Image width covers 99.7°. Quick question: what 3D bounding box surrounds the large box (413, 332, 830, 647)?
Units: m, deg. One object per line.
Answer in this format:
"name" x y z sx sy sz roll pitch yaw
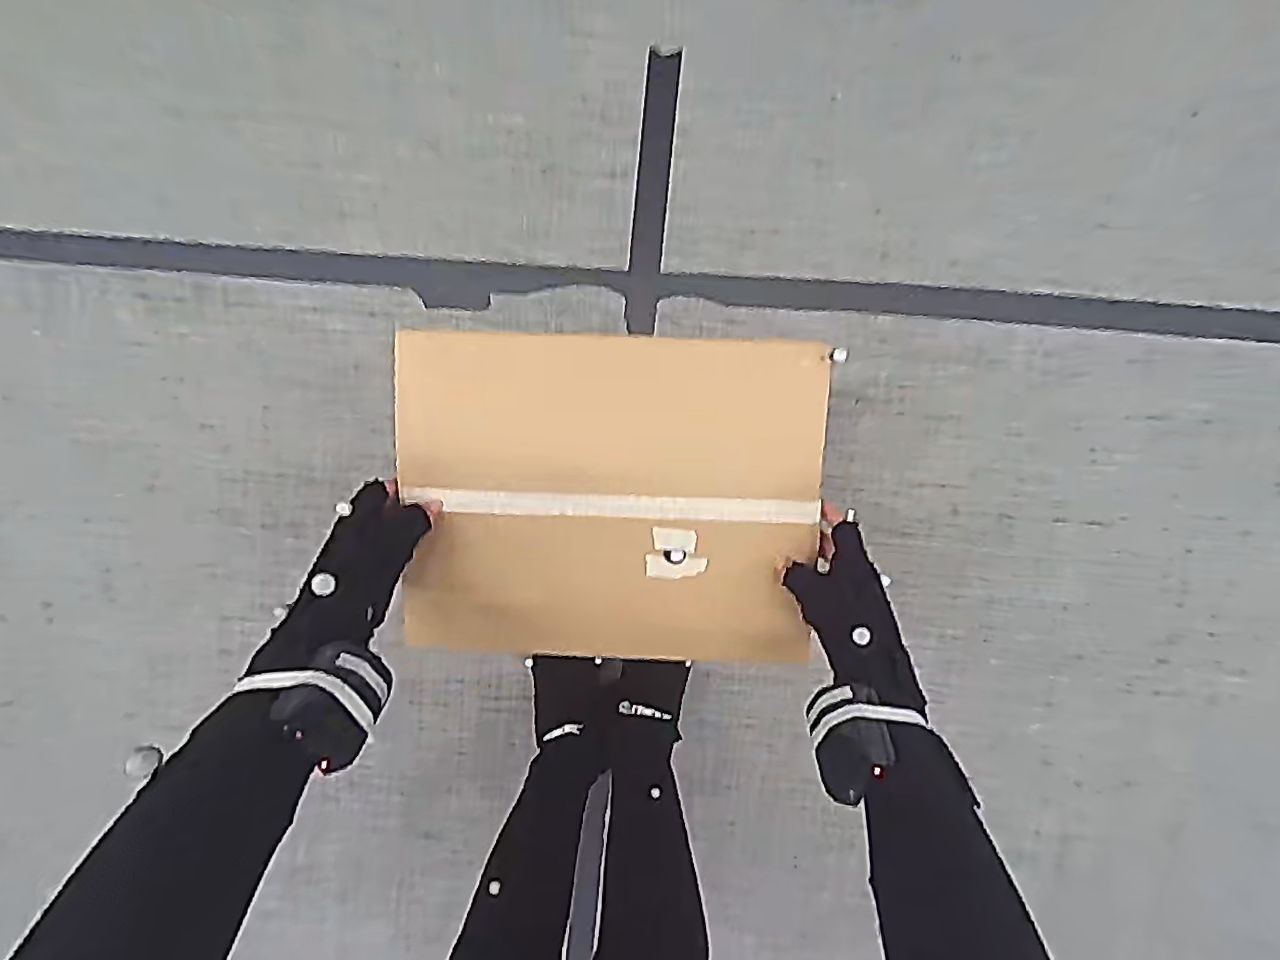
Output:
"large box" -0.020 -0.004 0.679 0.408 0.320 0.320 2 99 1
